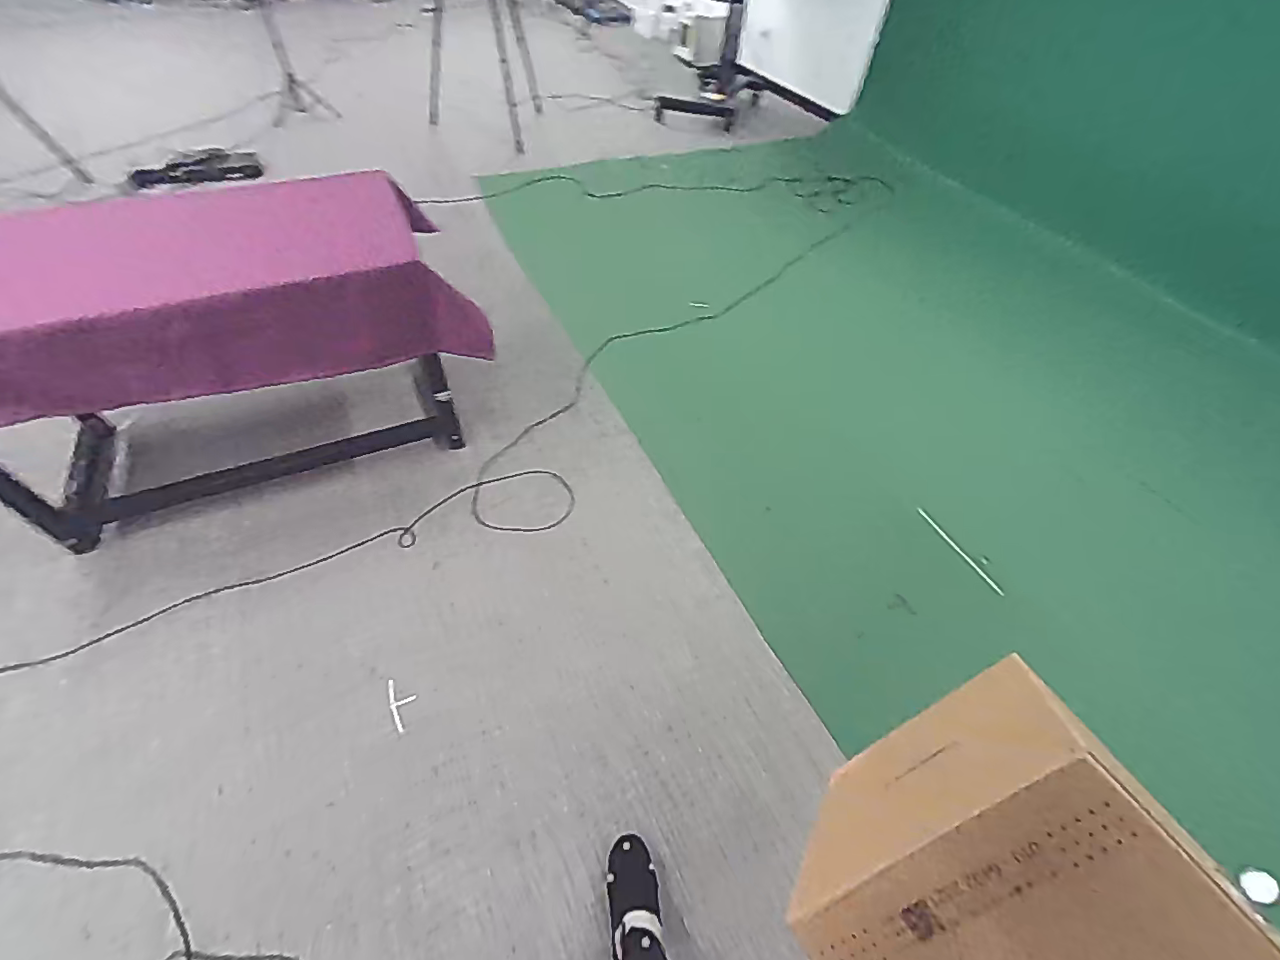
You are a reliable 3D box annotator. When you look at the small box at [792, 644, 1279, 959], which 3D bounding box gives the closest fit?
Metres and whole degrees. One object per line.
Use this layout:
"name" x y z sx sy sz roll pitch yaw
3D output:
"small box" 0.208 0.221 0.302 0.168 0.179 0.176 -45 70 17
